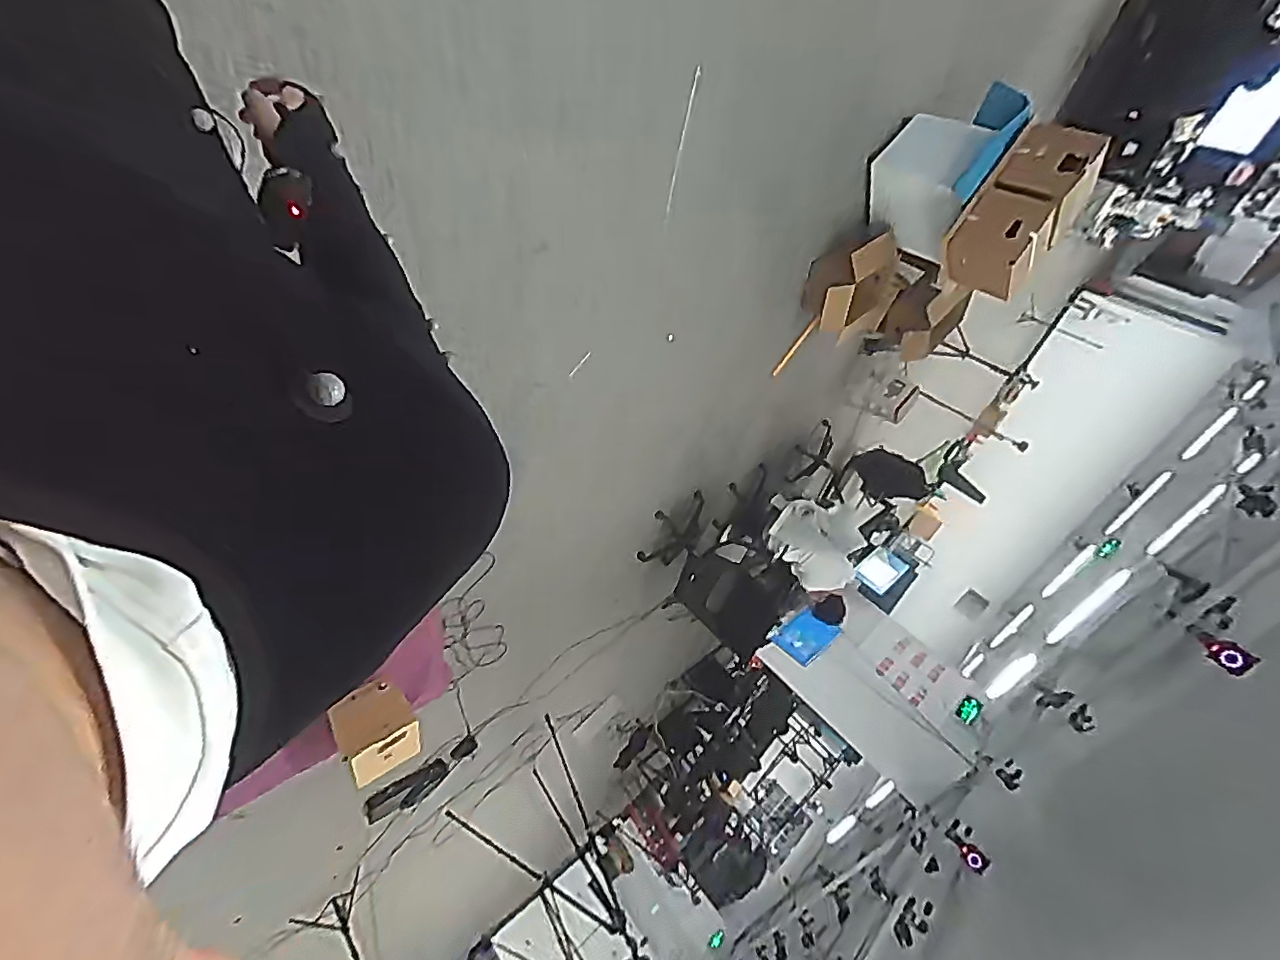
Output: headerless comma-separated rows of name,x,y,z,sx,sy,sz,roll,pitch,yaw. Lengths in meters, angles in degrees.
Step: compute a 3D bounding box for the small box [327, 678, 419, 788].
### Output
small box,-0.698,0.652,1.418,0.168,0.176,0.179,-21,140,-38
